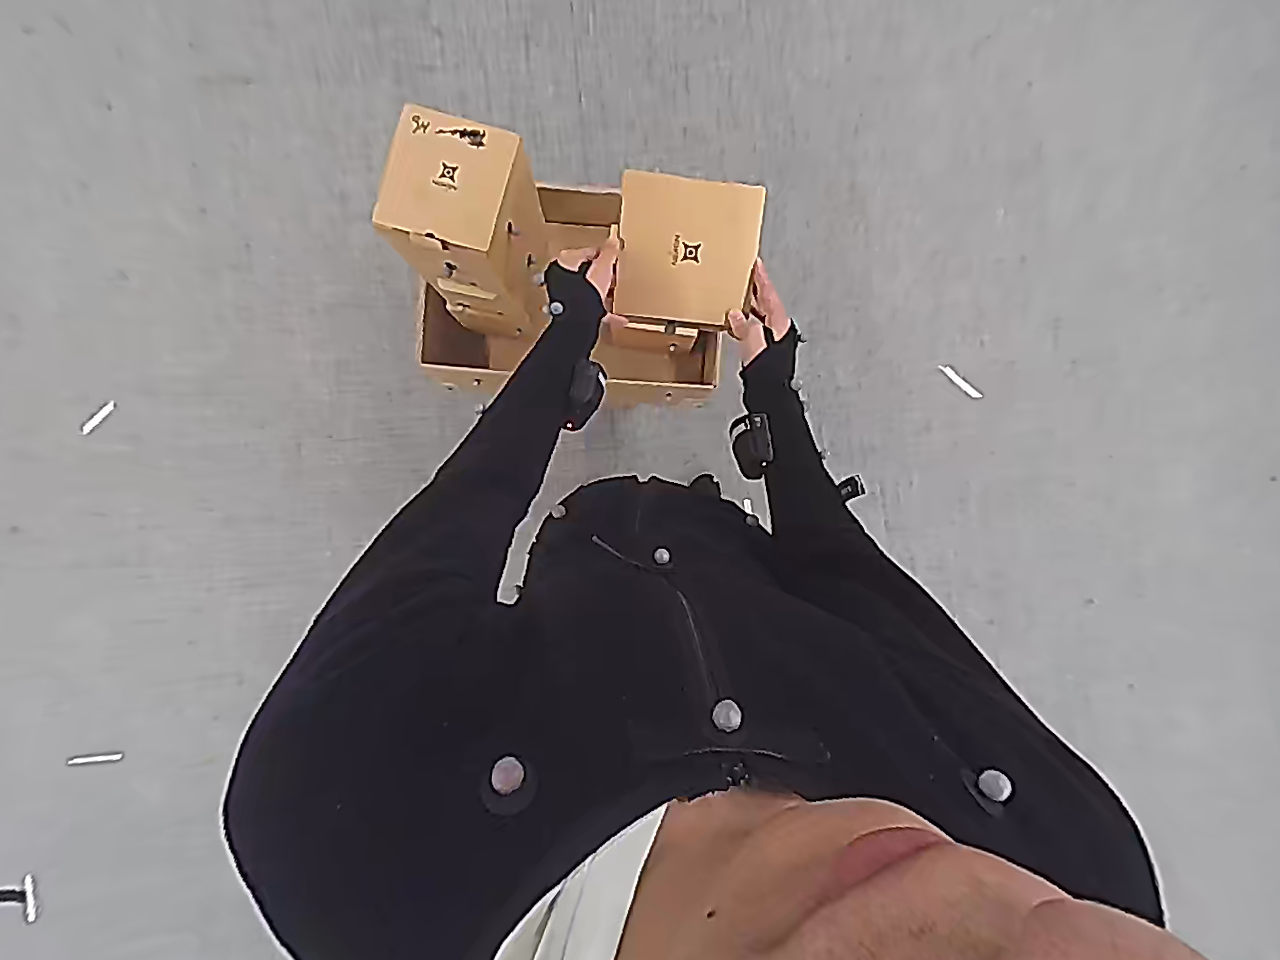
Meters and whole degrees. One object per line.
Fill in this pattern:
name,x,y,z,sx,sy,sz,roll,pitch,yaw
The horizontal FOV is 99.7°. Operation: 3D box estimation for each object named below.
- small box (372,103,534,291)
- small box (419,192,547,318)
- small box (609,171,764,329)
small box,-0.268,-0.410,0.817,0.168,0.176,0.179,15,89,-1
small box,-0.273,-0.412,0.981,0.168,0.176,0.179,11,88,-1
small box,0.052,-0.298,0.736,0.179,0.176,0.168,5,104,-2
